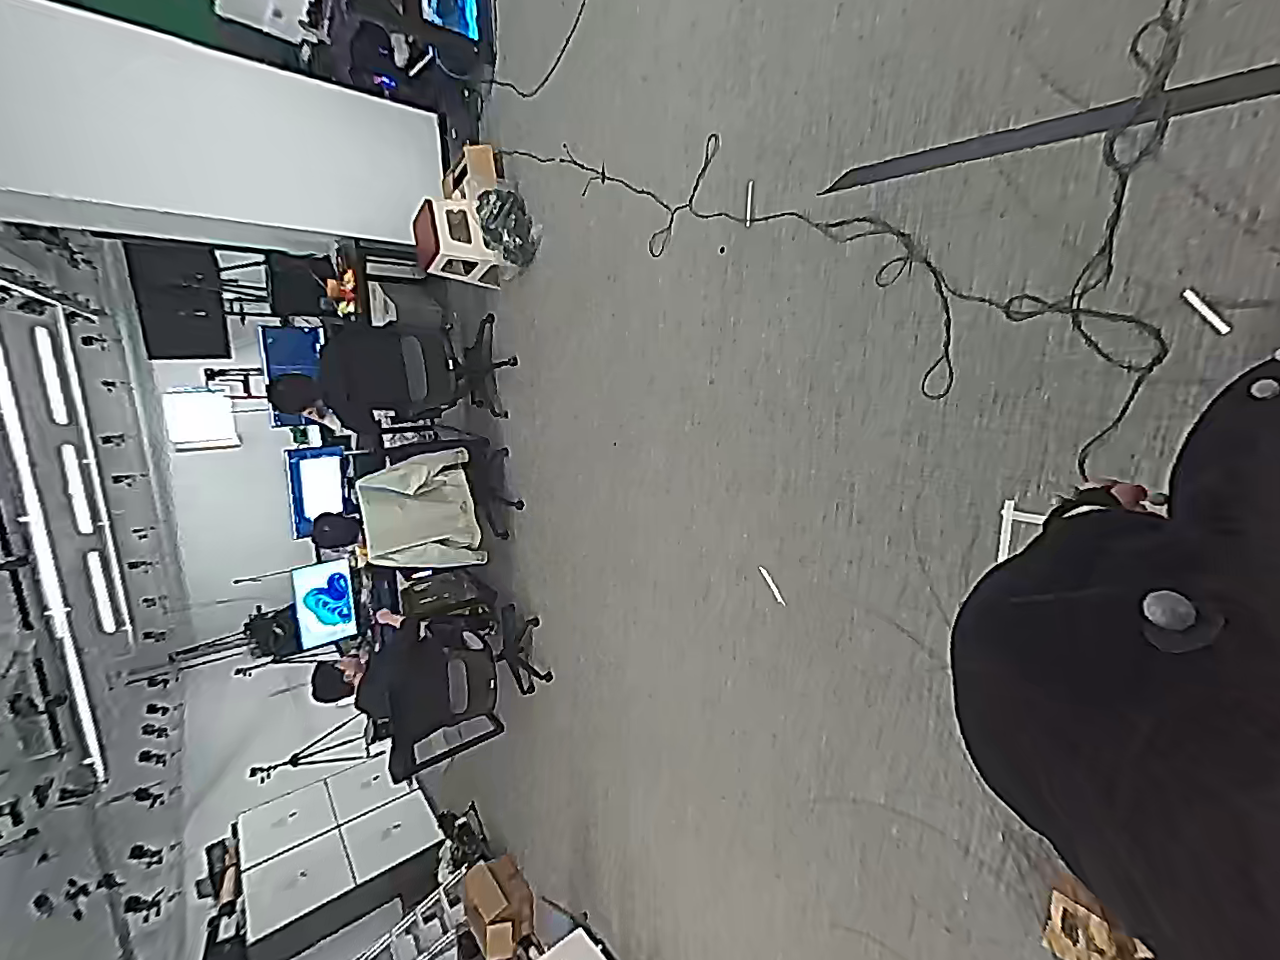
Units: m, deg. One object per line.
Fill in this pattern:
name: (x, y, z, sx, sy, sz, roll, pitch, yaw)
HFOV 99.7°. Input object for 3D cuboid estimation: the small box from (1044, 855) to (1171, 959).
small box: (1.068, 1.010, 1.237, 0.179, 0.176, 0.168, 16, 110, 48)
